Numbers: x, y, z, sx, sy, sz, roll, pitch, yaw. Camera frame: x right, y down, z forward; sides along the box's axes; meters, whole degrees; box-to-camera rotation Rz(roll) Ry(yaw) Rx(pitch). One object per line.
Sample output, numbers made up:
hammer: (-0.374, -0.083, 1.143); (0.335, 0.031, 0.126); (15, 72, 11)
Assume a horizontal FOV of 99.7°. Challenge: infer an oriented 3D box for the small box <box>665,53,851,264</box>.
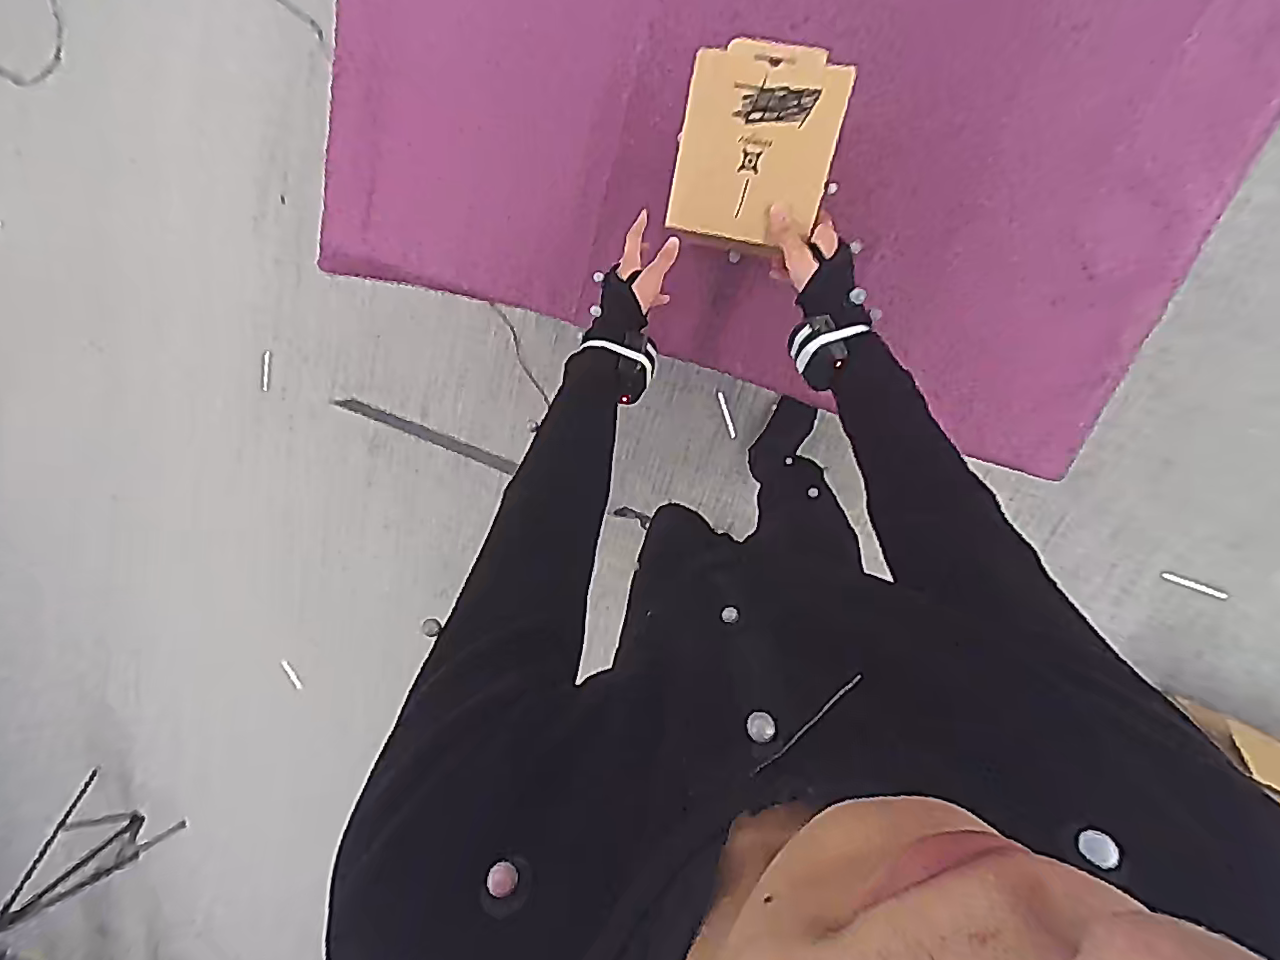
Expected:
small box: (0.140, -0.377, 0.664); (0.168, 0.176, 0.179); (15, 110, 10)
